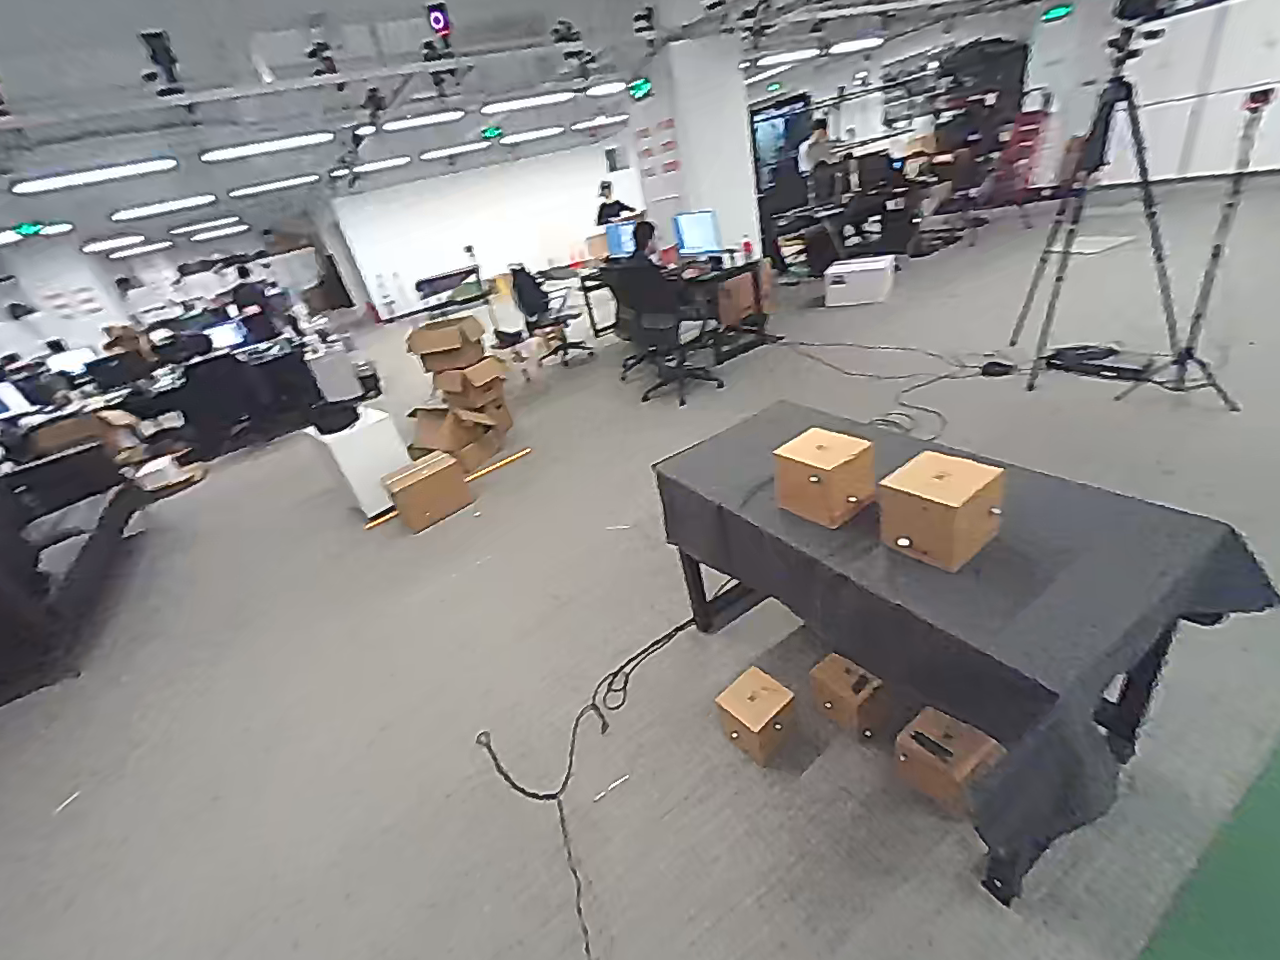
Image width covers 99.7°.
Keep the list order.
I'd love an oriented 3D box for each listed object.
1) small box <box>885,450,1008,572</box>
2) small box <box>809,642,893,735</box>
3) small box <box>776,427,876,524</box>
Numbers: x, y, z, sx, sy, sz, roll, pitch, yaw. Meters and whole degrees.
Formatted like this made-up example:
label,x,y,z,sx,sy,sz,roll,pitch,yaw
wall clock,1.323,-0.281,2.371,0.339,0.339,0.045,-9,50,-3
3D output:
label,x,y,z,sx,sy,sz,roll,pitch,yaw
small box,0.644,0.062,1.152,0.179,0.176,0.168,-28,31,-24
small box,0.642,0.638,1.641,0.168,0.176,0.179,-27,30,-23
small box,0.467,-0.011,1.360,0.168,0.176,0.179,-29,32,-26
